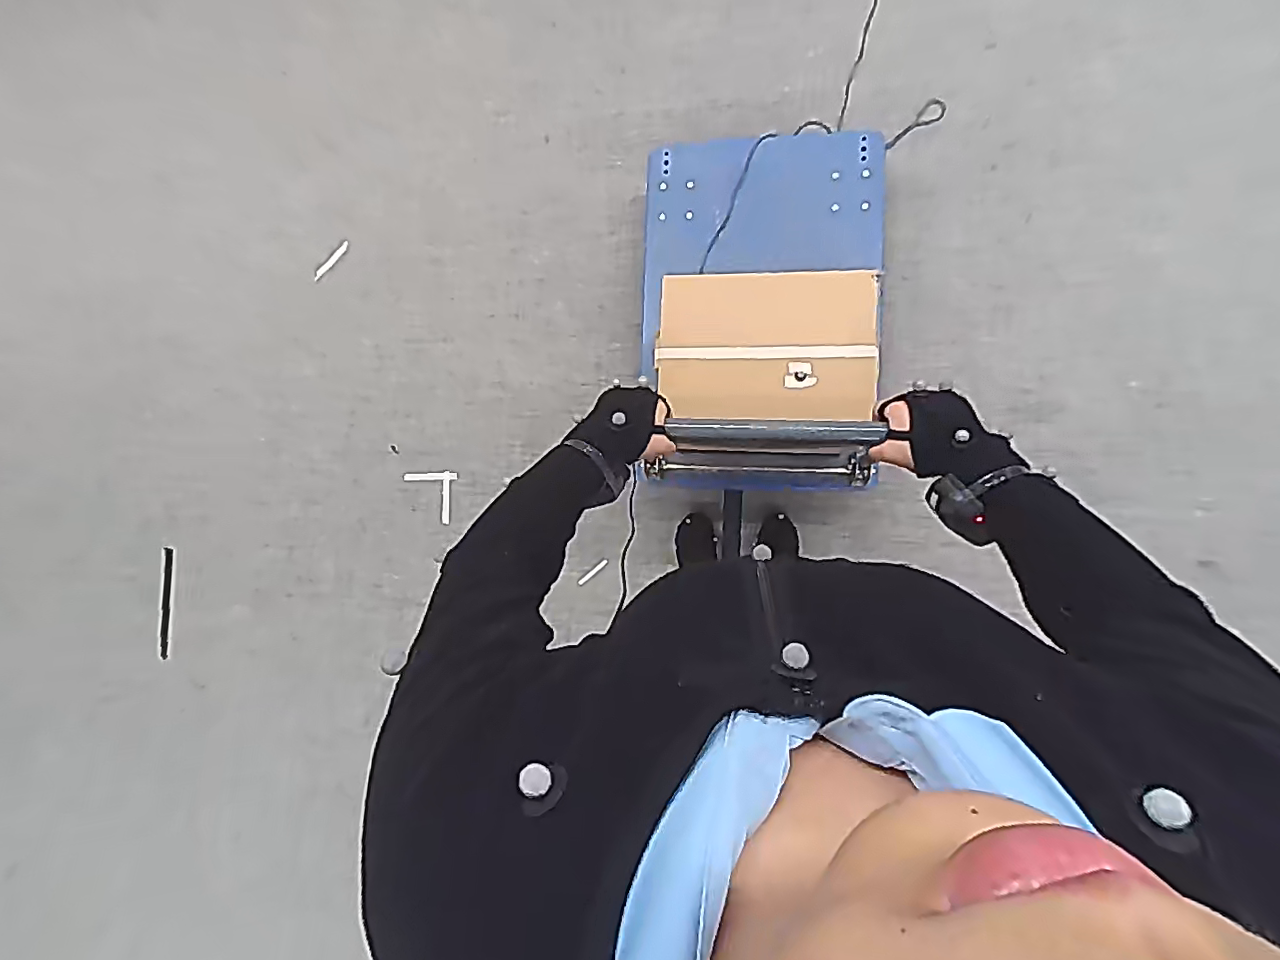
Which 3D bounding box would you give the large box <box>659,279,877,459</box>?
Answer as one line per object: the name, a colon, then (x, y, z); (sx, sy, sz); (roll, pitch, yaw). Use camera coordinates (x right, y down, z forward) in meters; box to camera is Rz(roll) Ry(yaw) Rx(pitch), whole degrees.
large box: (0.256, -0.213, 1.161); (0.408, 0.320, 0.320); (2, 88, 9)
